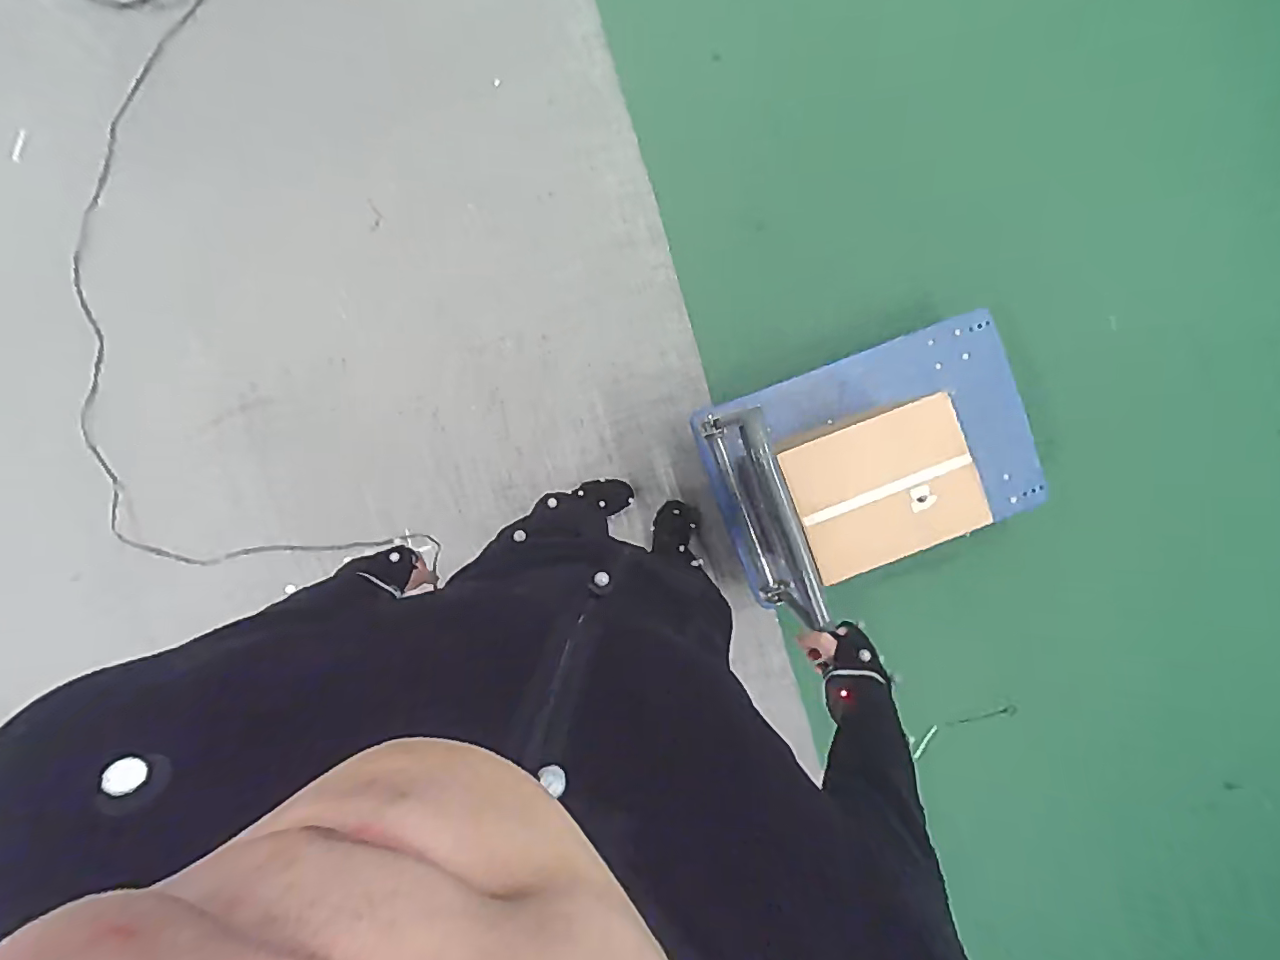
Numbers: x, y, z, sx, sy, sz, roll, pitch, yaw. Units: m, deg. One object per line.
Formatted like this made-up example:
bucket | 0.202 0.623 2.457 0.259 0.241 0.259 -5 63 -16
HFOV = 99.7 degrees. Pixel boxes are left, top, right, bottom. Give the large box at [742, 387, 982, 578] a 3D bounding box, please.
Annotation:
large box | 0.517 0.003 1.336 0.408 0.320 0.320 -20 94 -2
